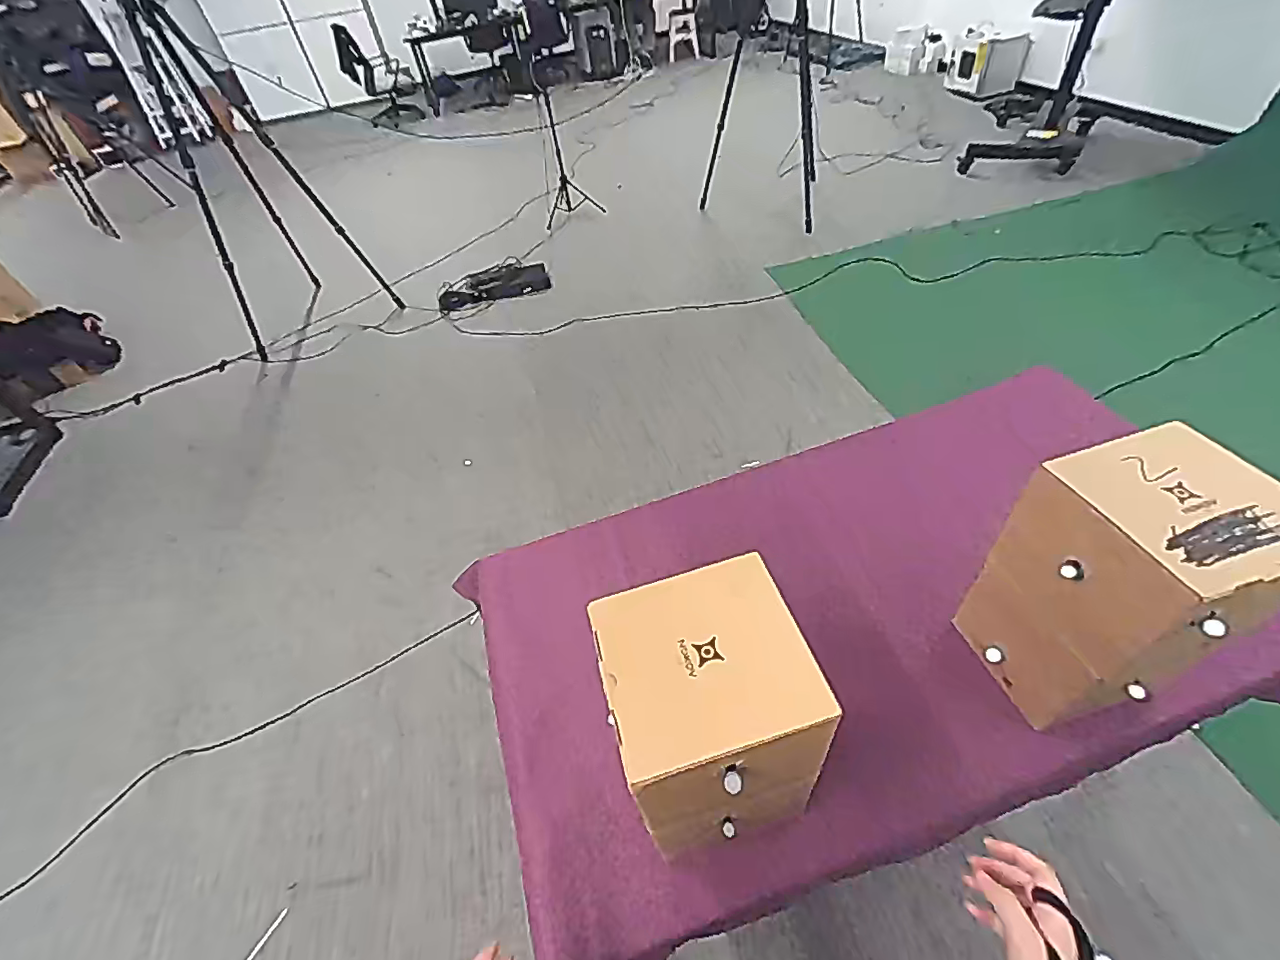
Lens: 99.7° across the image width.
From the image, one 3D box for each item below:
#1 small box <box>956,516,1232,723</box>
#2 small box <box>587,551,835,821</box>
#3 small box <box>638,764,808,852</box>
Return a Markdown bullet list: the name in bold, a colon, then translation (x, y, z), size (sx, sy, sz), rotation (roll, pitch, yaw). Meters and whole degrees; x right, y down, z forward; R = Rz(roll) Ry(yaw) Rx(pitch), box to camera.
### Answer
- **small box**: translation (0.545, 0.178, 0.684), size (0.179, 0.176, 0.168), rotation (-17, 46, -4)
- **small box**: translation (0.062, 0.201, 0.525), size (0.179, 0.176, 0.168), rotation (-17, 46, -4)
- **small box**: translation (0.079, 0.314, 0.643), size (0.179, 0.176, 0.168), rotation (-16, 47, -5)
